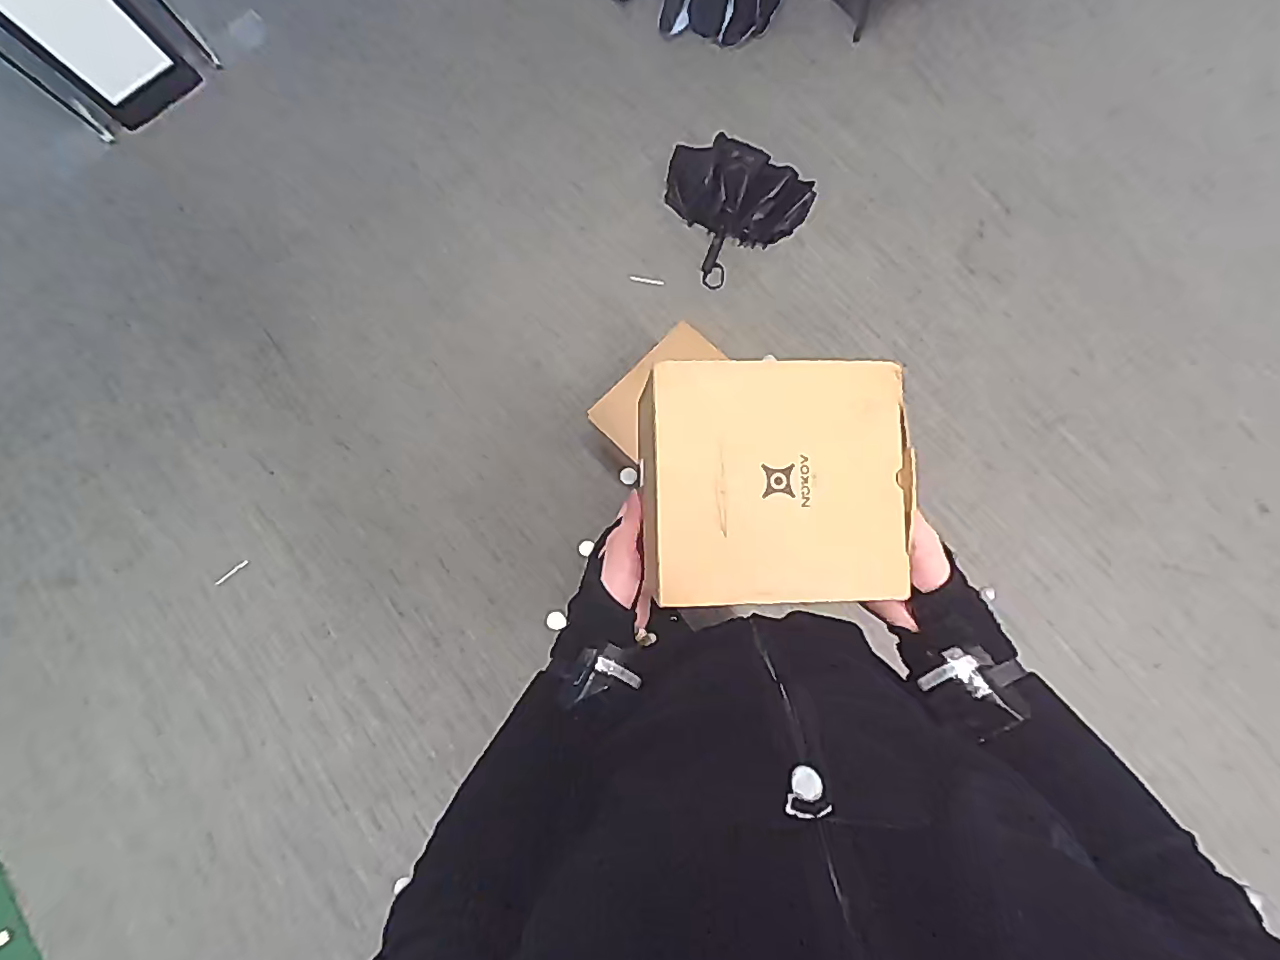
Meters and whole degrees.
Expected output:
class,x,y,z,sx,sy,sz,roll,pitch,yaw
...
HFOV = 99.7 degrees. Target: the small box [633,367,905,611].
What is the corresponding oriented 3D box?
class,x,y,z,sx,sy,sz,roll,pitch,yaw
small box,0.088,0.009,0.447,0.179,0.176,0.168,-2,86,-3
